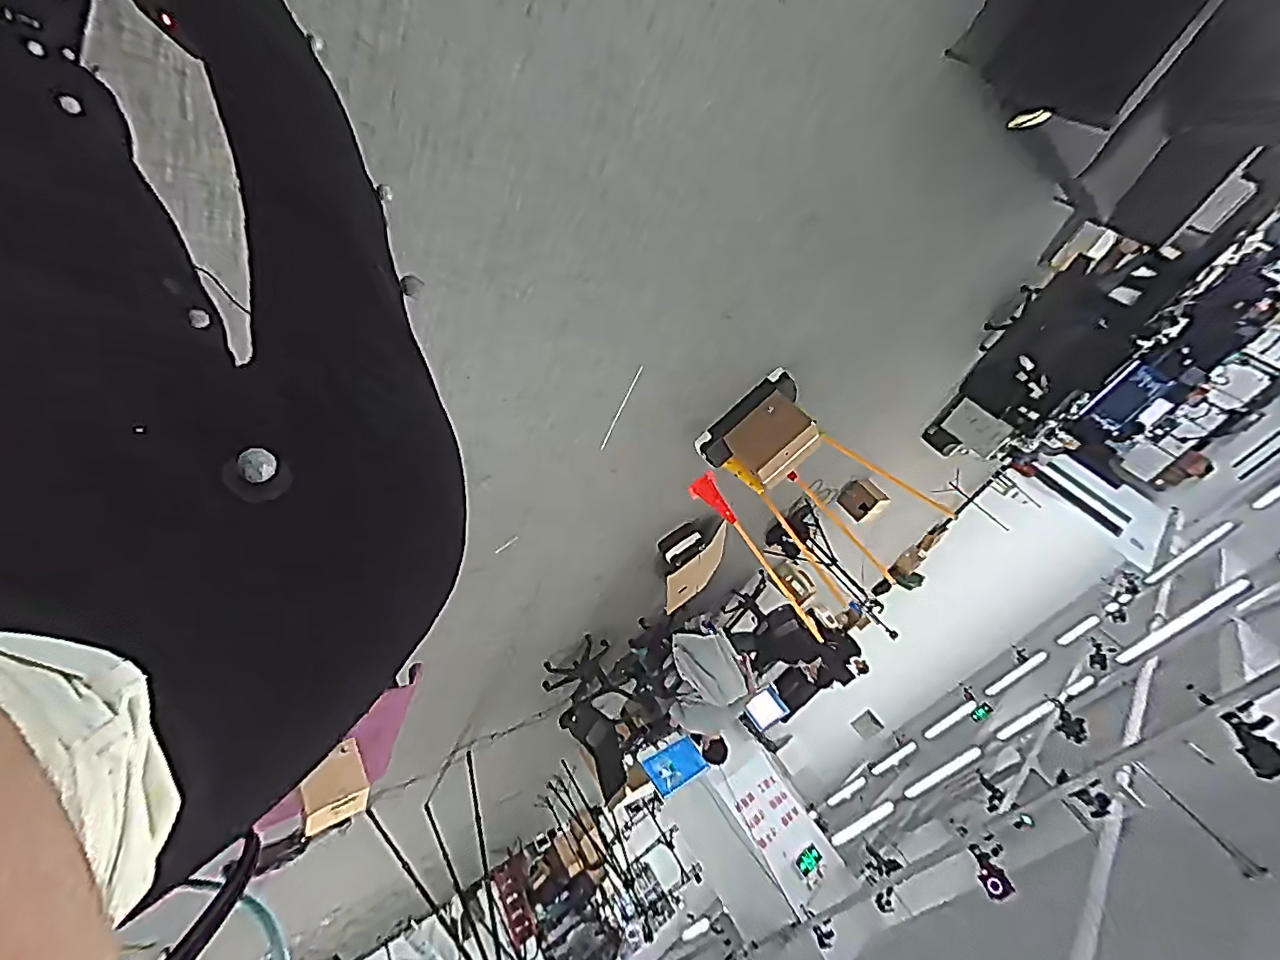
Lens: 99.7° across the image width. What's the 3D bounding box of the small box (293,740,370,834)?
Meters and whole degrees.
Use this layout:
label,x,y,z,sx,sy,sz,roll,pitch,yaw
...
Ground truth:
label,x,y,z,sx,sy,sz,roll,pitch,yaw
small box,-0.937,0.919,1.637,0.168,0.176,0.179,-9,140,-41
